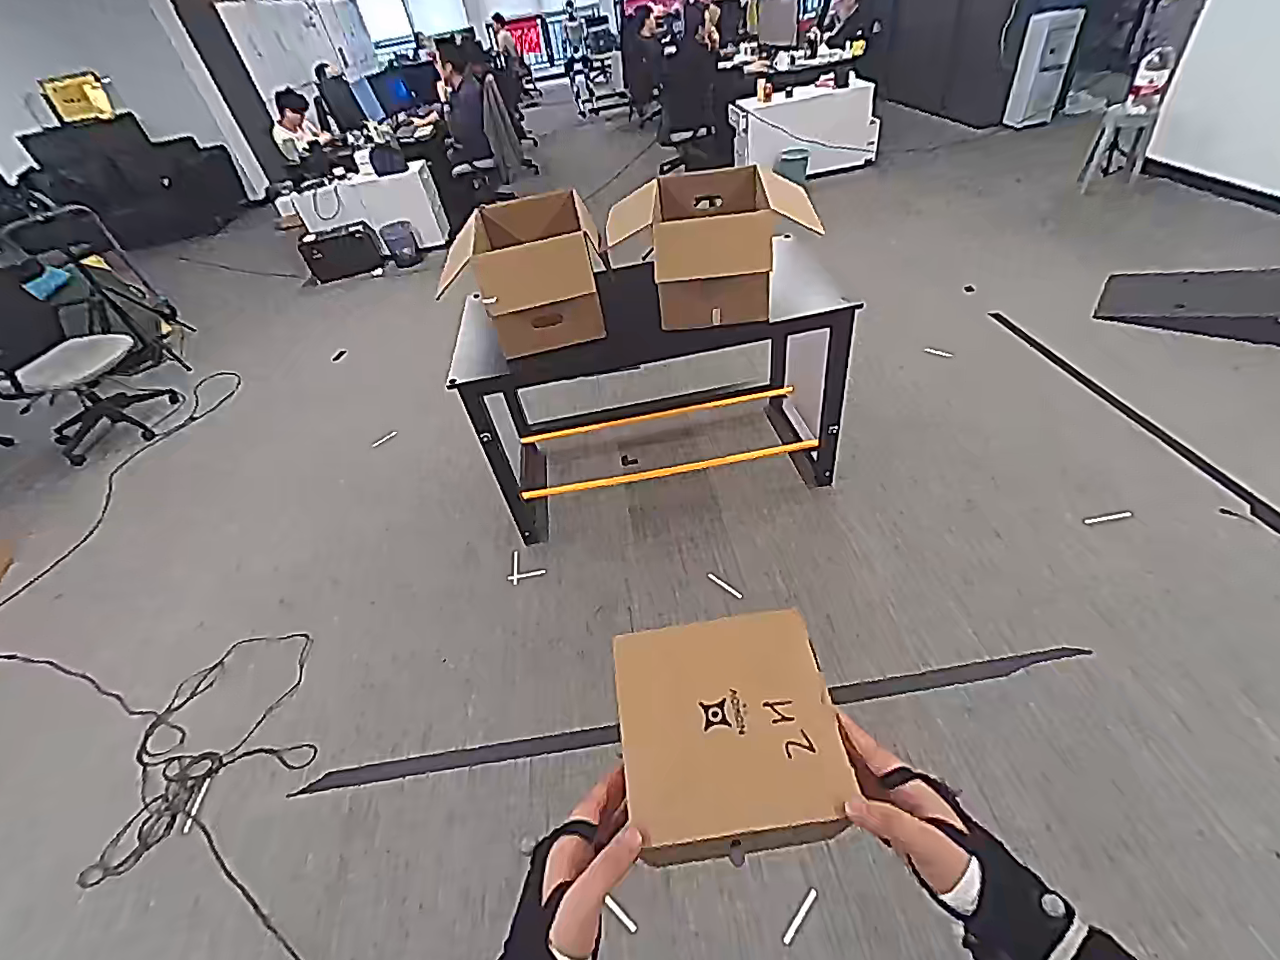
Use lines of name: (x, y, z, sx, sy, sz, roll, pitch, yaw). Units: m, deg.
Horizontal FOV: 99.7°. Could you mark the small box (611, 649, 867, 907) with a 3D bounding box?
small box: (0.076, 0.274, 0.491, 0.179, 0.176, 0.168, -9, 51, 1)
